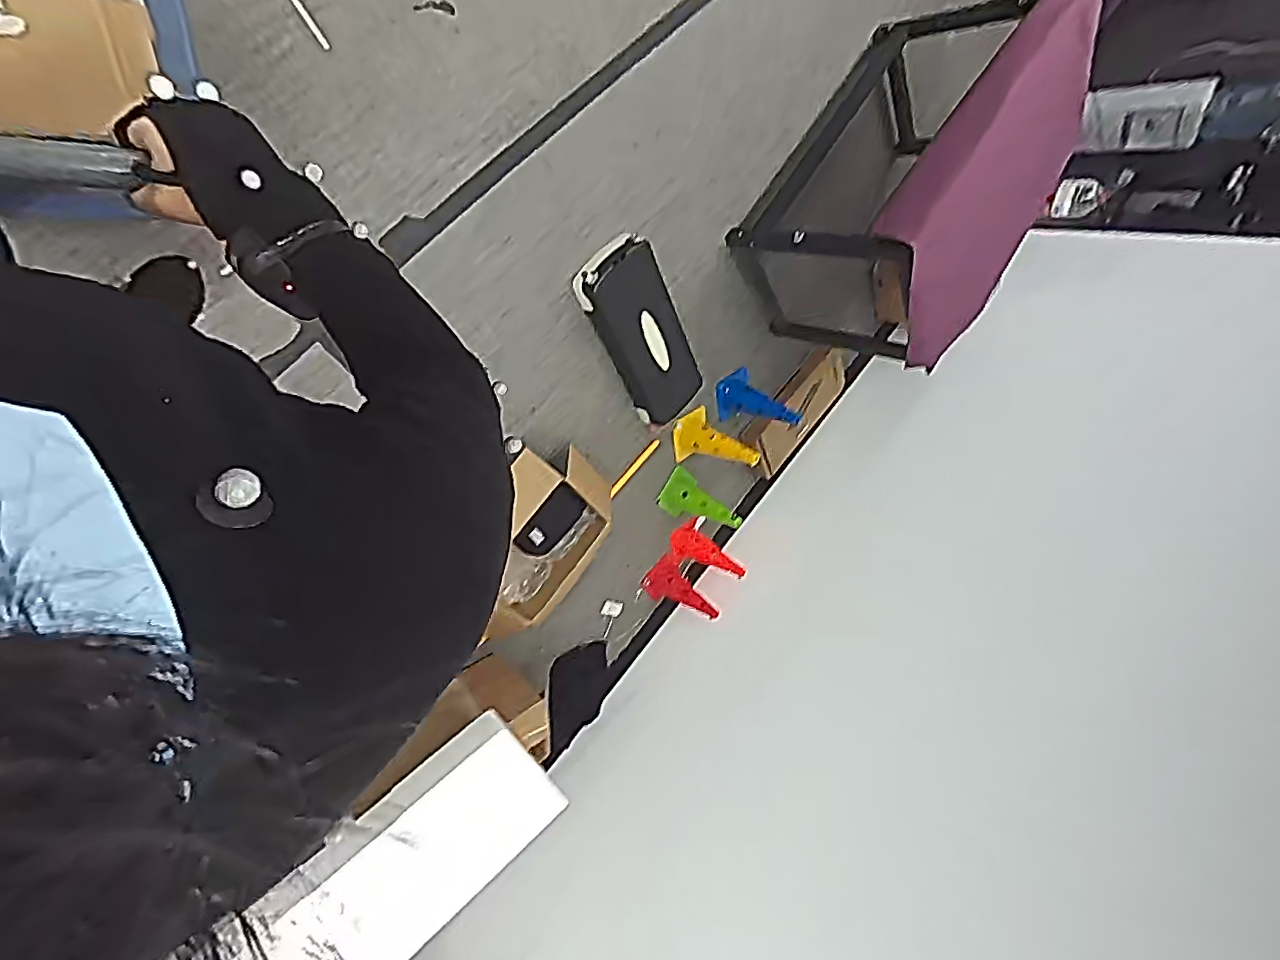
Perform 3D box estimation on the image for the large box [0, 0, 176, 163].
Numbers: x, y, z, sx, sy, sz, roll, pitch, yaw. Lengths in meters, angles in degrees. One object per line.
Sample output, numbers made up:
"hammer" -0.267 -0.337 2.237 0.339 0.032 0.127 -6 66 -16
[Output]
"large box" -0.835 -0.556 0.603 0.408 0.320 0.320 -20 123 -39
